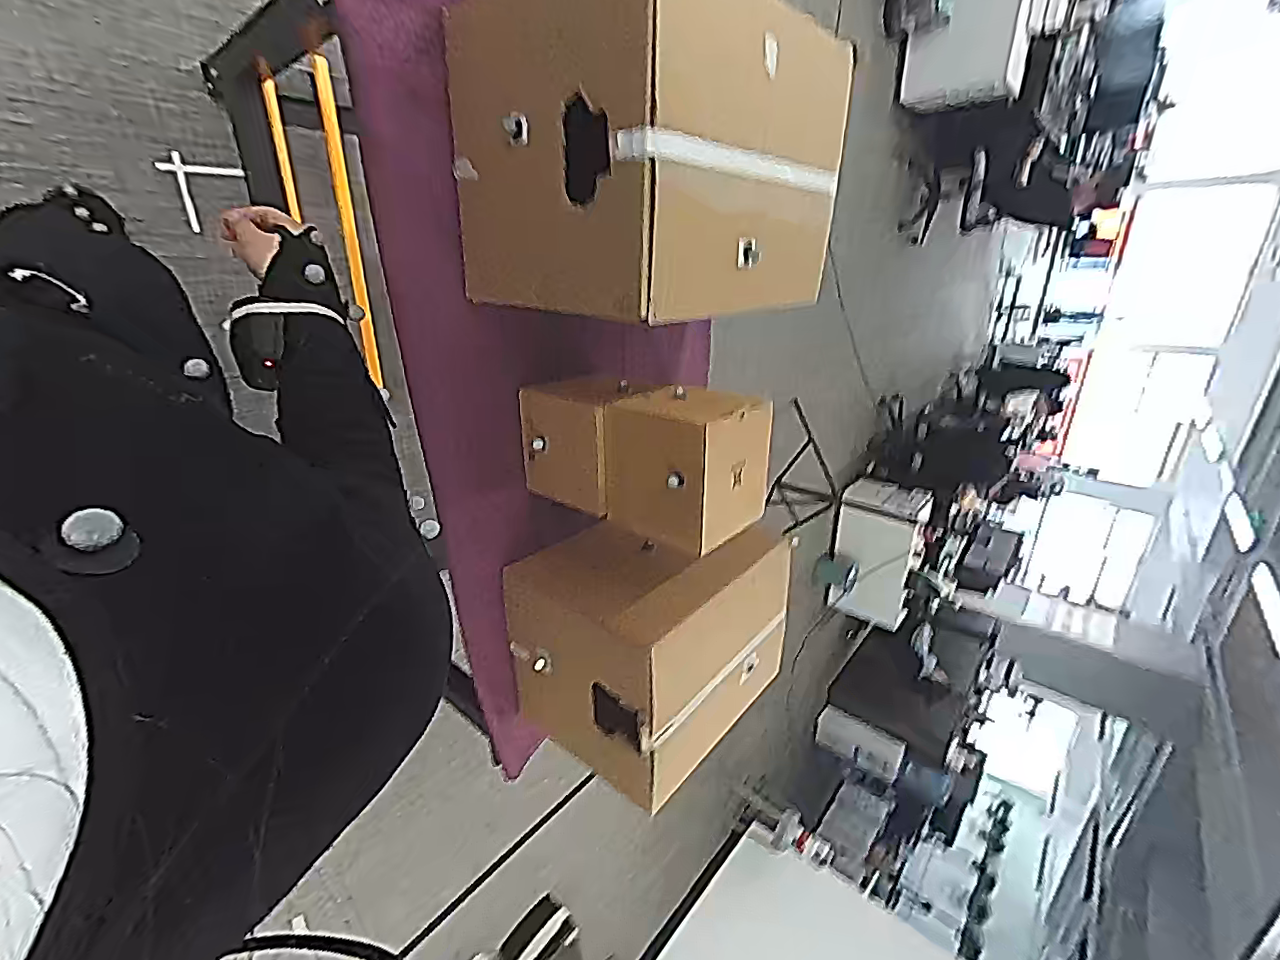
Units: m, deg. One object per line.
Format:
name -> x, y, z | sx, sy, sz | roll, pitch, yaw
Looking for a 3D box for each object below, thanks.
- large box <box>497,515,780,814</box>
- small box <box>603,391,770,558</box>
large box -> 0.011, 0.264, 0.967 | 0.408, 0.320, 0.320 | -24, 122, -46
small box -> 0.061, -0.019, 0.761 | 0.168, 0.176, 0.179 | -22, 119, -46
